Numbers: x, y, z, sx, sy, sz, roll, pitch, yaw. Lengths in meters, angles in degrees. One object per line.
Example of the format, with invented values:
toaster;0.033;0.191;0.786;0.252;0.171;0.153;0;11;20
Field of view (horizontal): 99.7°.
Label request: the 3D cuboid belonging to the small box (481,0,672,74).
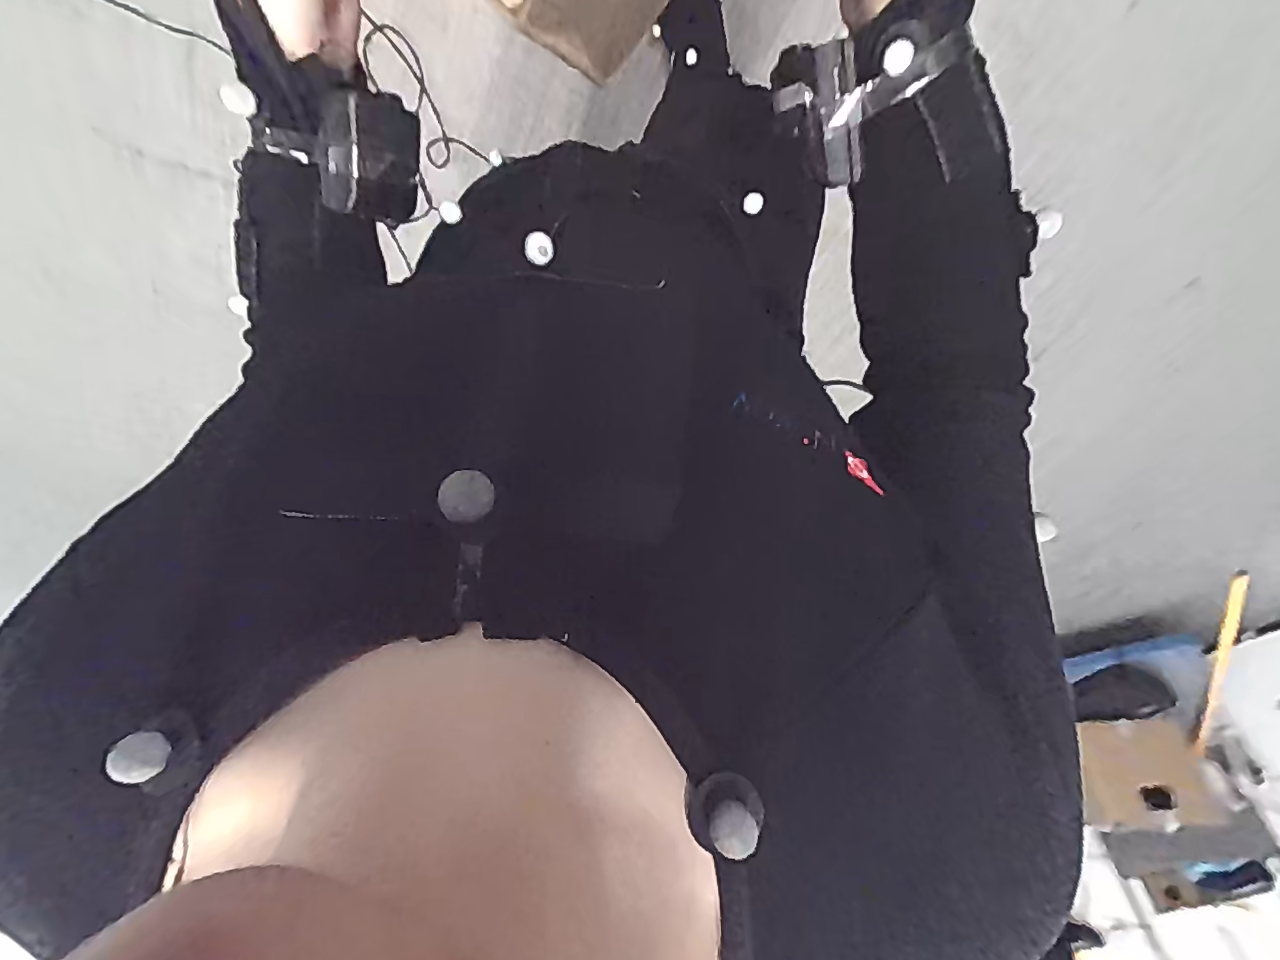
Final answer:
small box;-0.033;-0.295;0.197;0.168;0.176;0.179;39;118;-14
